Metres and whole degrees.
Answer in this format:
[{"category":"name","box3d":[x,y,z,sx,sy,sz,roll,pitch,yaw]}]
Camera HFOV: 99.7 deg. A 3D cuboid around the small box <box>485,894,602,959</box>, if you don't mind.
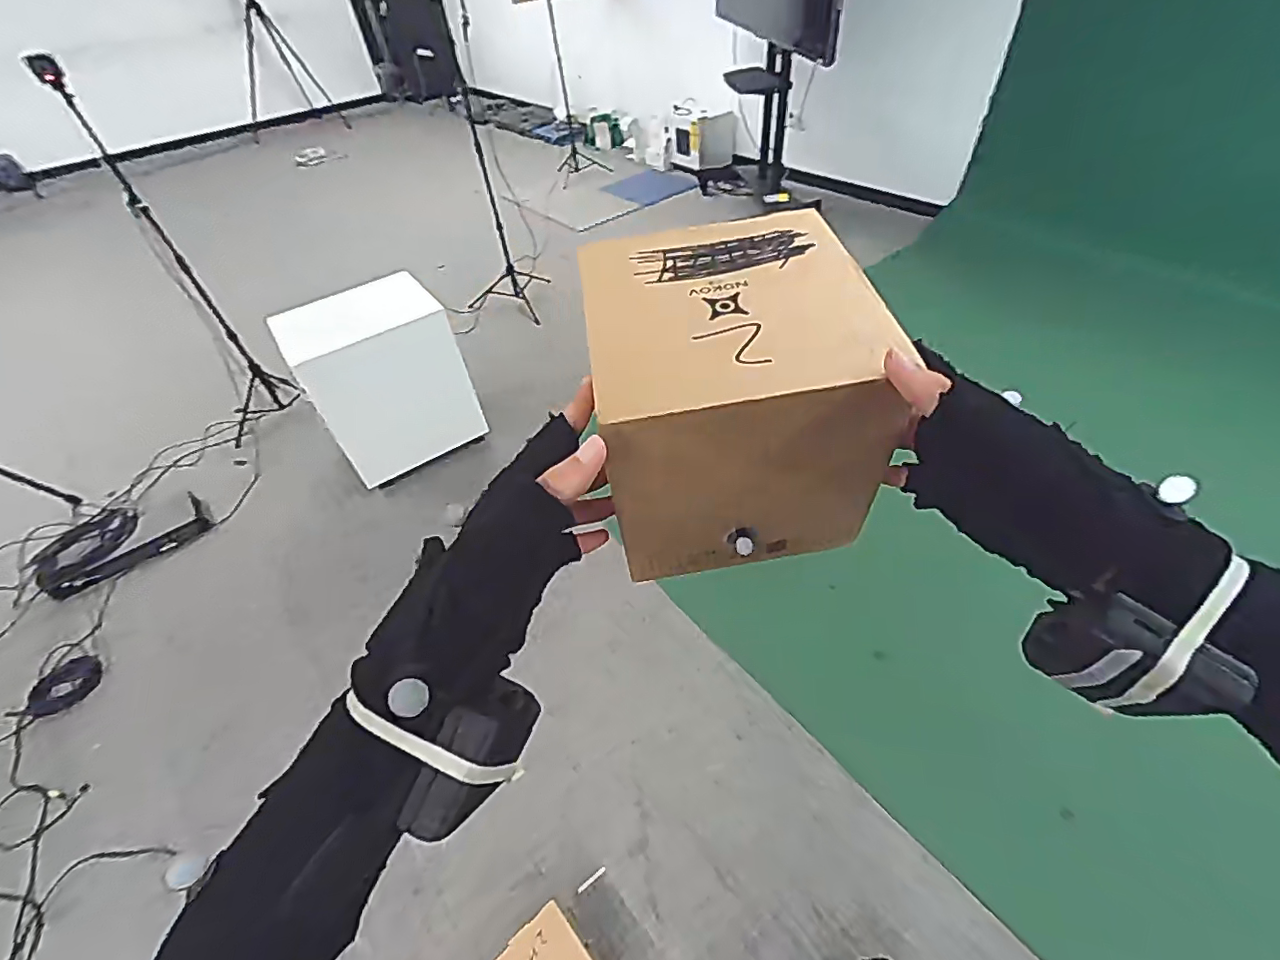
[{"category":"small box","box3d":[-0.173,0.951,1.043,0.168,0.176,0.179,-35,54,-26]}]
